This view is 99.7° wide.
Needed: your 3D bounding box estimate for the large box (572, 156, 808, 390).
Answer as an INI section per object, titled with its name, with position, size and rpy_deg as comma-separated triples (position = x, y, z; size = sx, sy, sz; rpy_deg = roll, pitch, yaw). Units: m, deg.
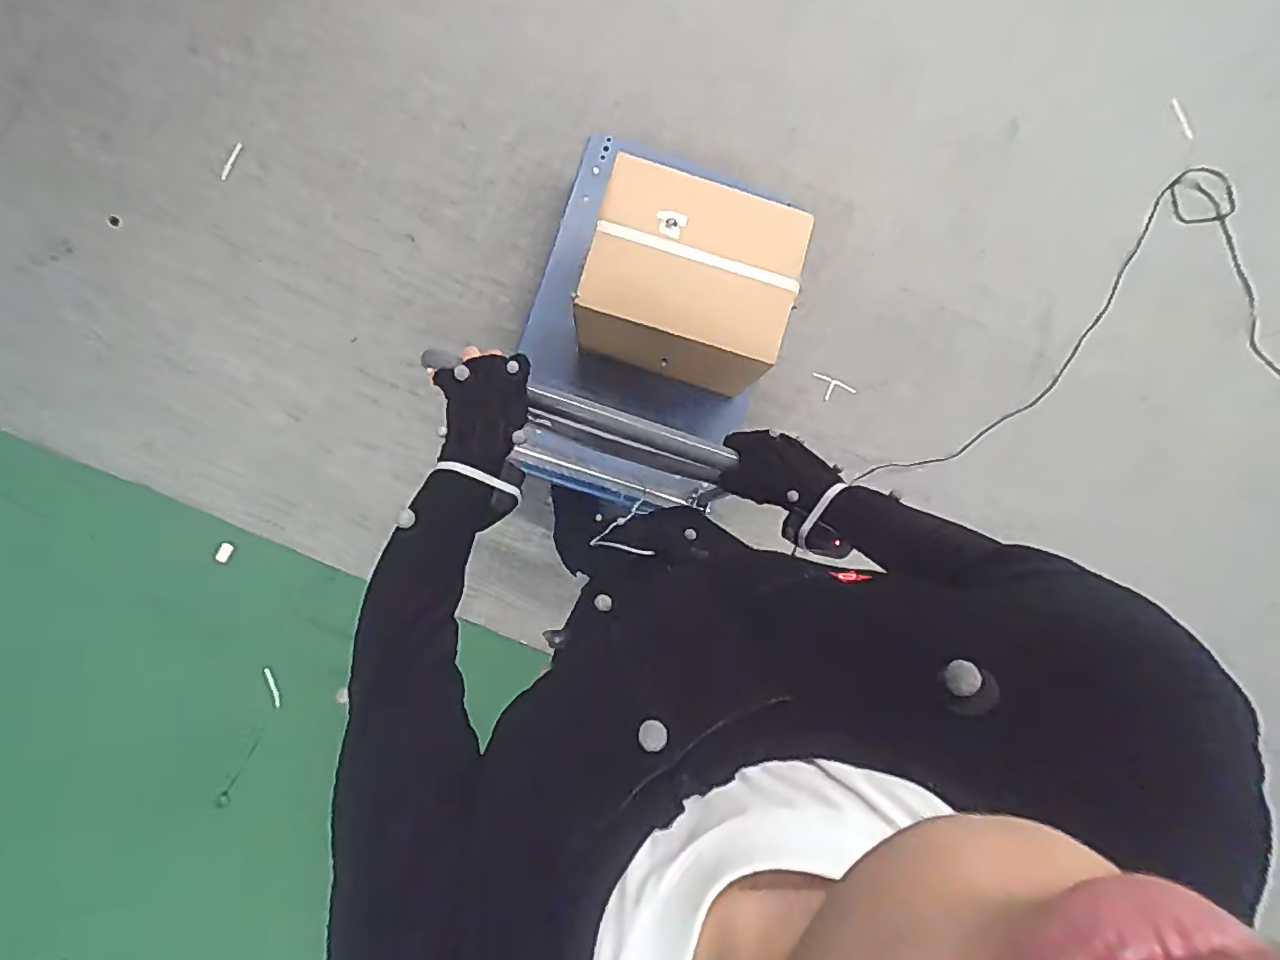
[large box]
position = 0.095, -0.421, 1.189
size = 0.408, 0.320, 0.320
rpy_deg = 17, 86, -2
